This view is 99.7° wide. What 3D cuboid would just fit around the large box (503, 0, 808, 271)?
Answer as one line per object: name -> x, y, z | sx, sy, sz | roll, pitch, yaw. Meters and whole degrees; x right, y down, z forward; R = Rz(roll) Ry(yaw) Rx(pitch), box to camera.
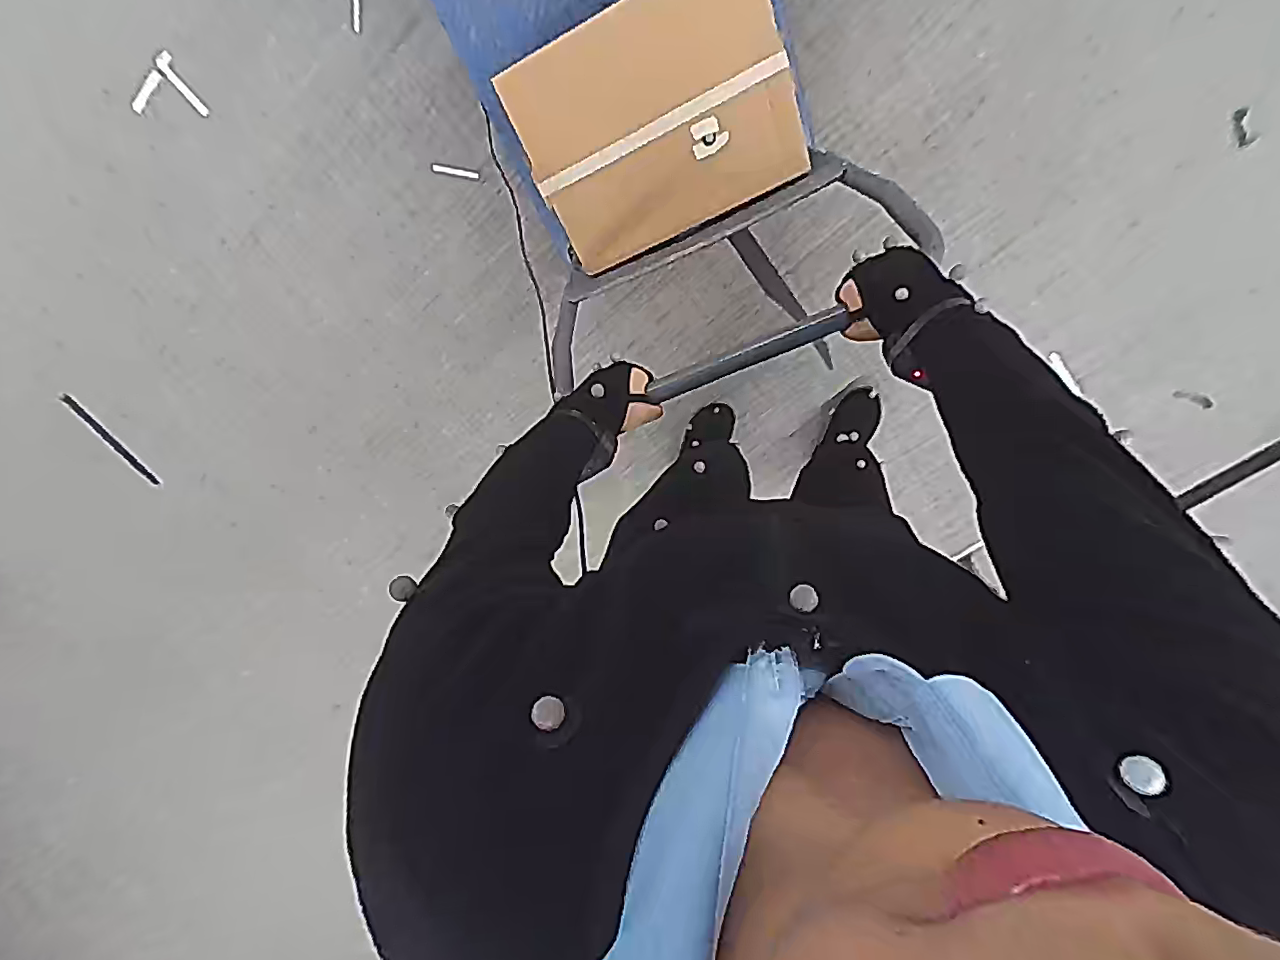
large box -> 0.028, -0.638, 0.967 | 0.408, 0.320, 0.320 | -22, 122, 13
